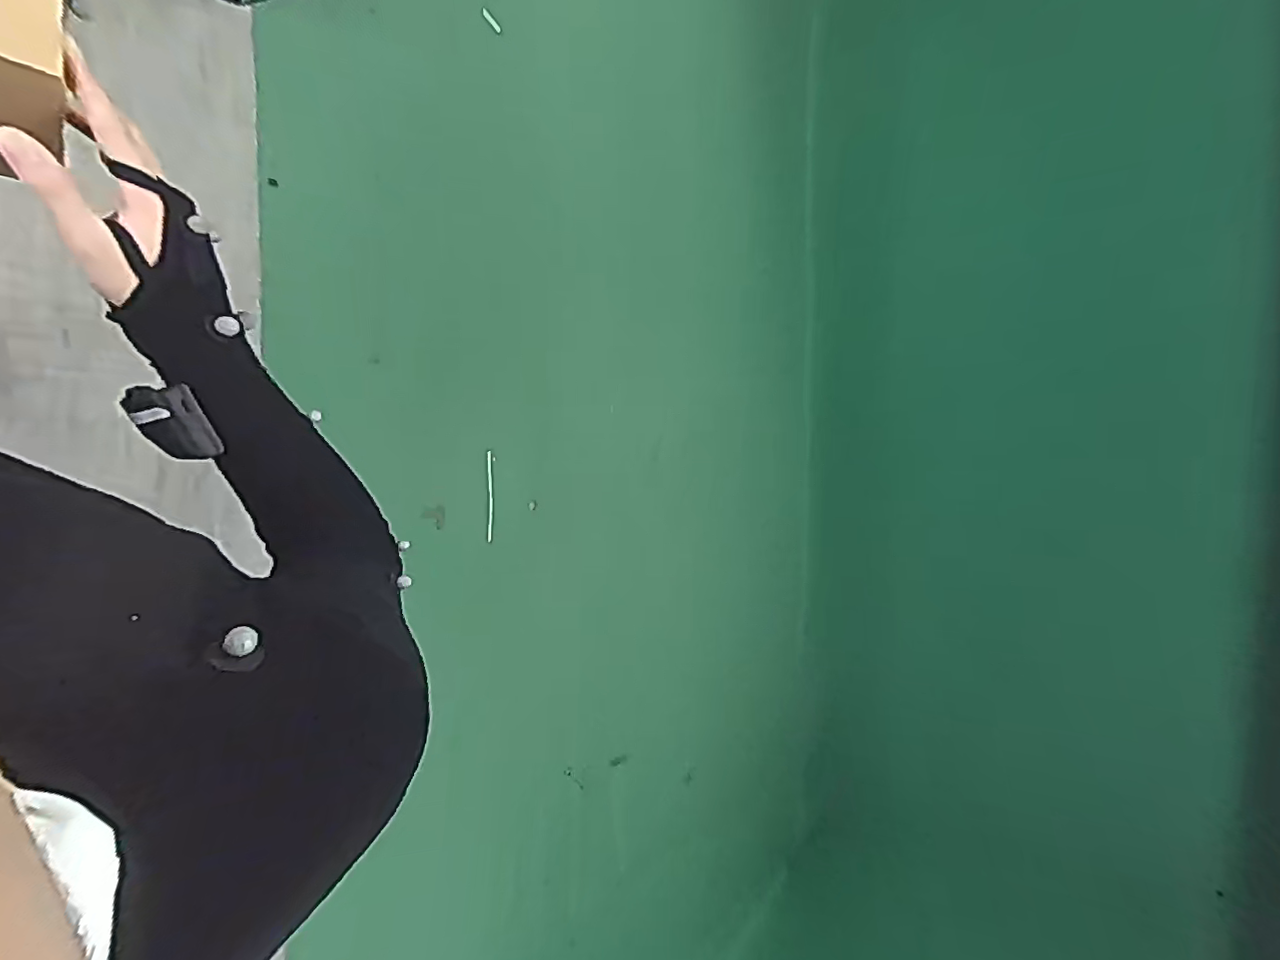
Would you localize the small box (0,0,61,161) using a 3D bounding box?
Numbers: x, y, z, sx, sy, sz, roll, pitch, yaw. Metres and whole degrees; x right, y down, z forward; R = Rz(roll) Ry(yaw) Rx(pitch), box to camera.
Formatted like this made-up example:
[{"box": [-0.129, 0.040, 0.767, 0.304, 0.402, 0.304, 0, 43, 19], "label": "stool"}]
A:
[{"box": [-0.454, -0.325, 0.309, 0.168, 0.176, 0.179, -1, 88, -47], "label": "small box"}]
